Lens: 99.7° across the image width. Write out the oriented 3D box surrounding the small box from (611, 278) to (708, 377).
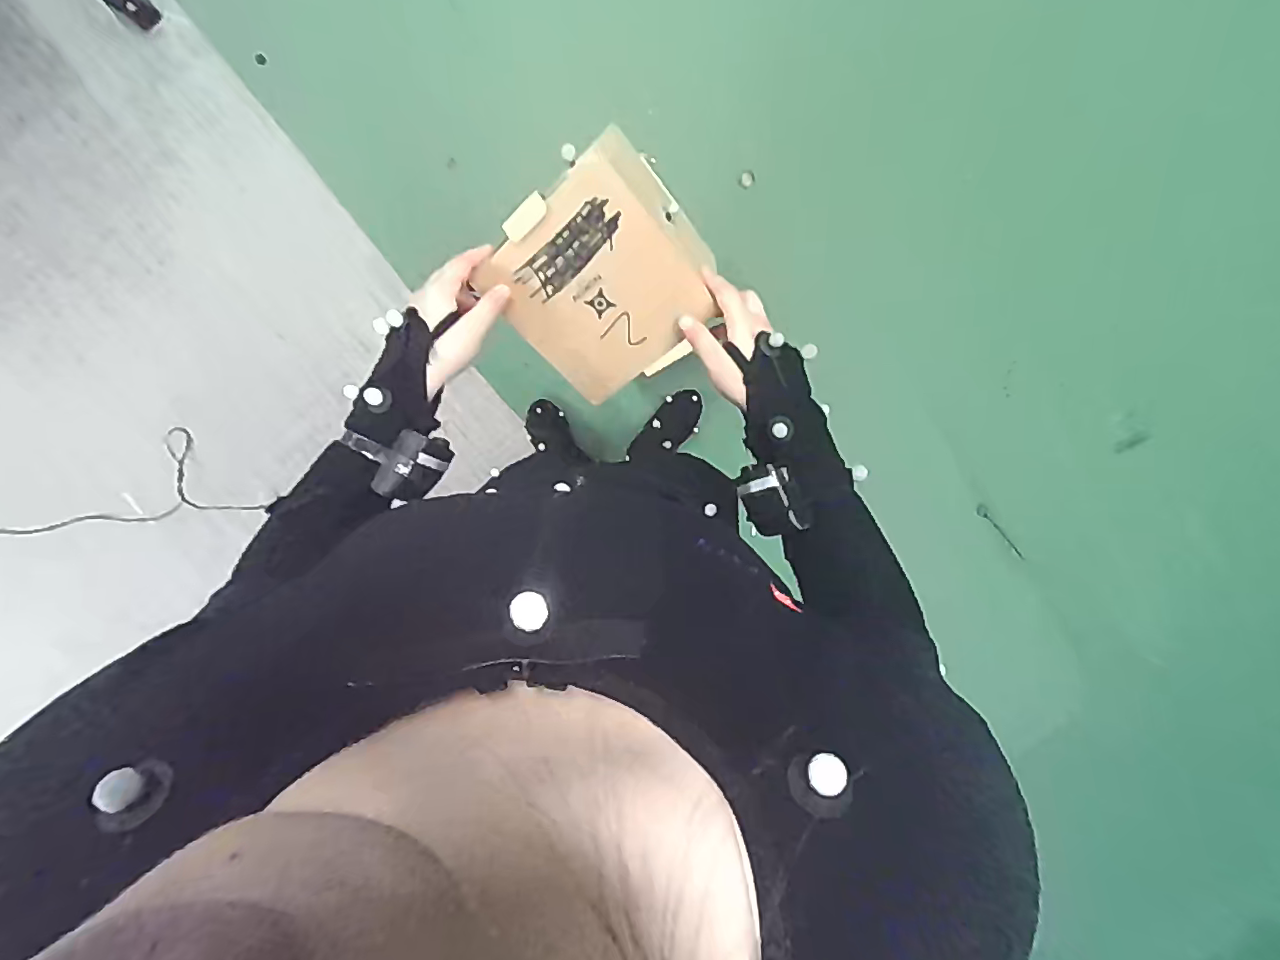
[{"bbox_3d":[0.047,-0.366,1.328,0.179,0.176,0.168,-30,101,5],"label":"small box"}]
